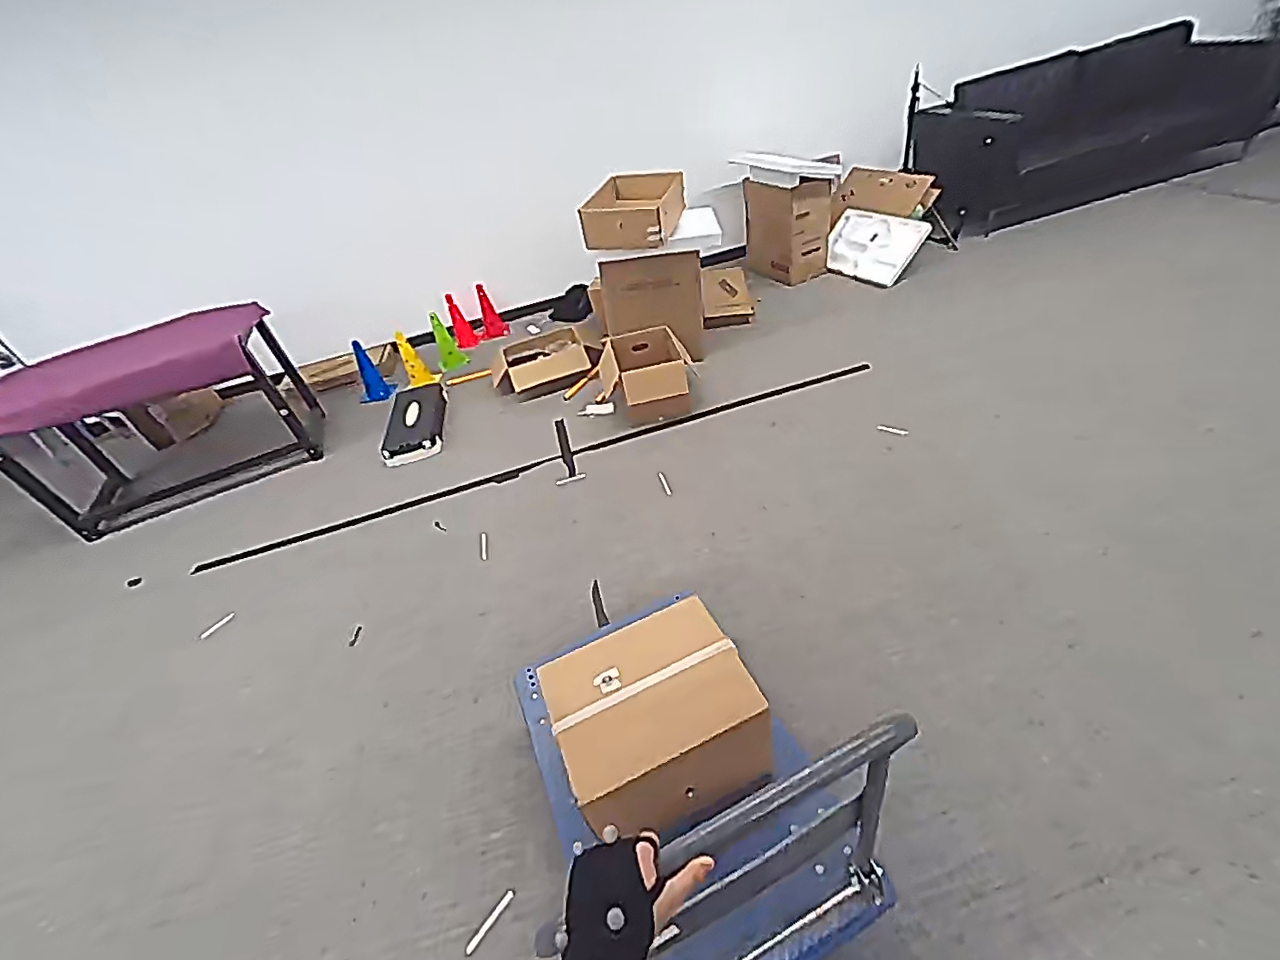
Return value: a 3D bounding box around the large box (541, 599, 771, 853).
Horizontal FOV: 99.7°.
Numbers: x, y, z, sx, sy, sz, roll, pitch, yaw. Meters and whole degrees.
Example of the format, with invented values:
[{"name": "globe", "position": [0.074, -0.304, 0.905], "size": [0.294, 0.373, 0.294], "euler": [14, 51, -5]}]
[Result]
[{"name": "large box", "position": [0.042, 0.550, 1.230], "size": [0.408, 0.320, 0.320], "euler": [-23, 40, -11]}]
